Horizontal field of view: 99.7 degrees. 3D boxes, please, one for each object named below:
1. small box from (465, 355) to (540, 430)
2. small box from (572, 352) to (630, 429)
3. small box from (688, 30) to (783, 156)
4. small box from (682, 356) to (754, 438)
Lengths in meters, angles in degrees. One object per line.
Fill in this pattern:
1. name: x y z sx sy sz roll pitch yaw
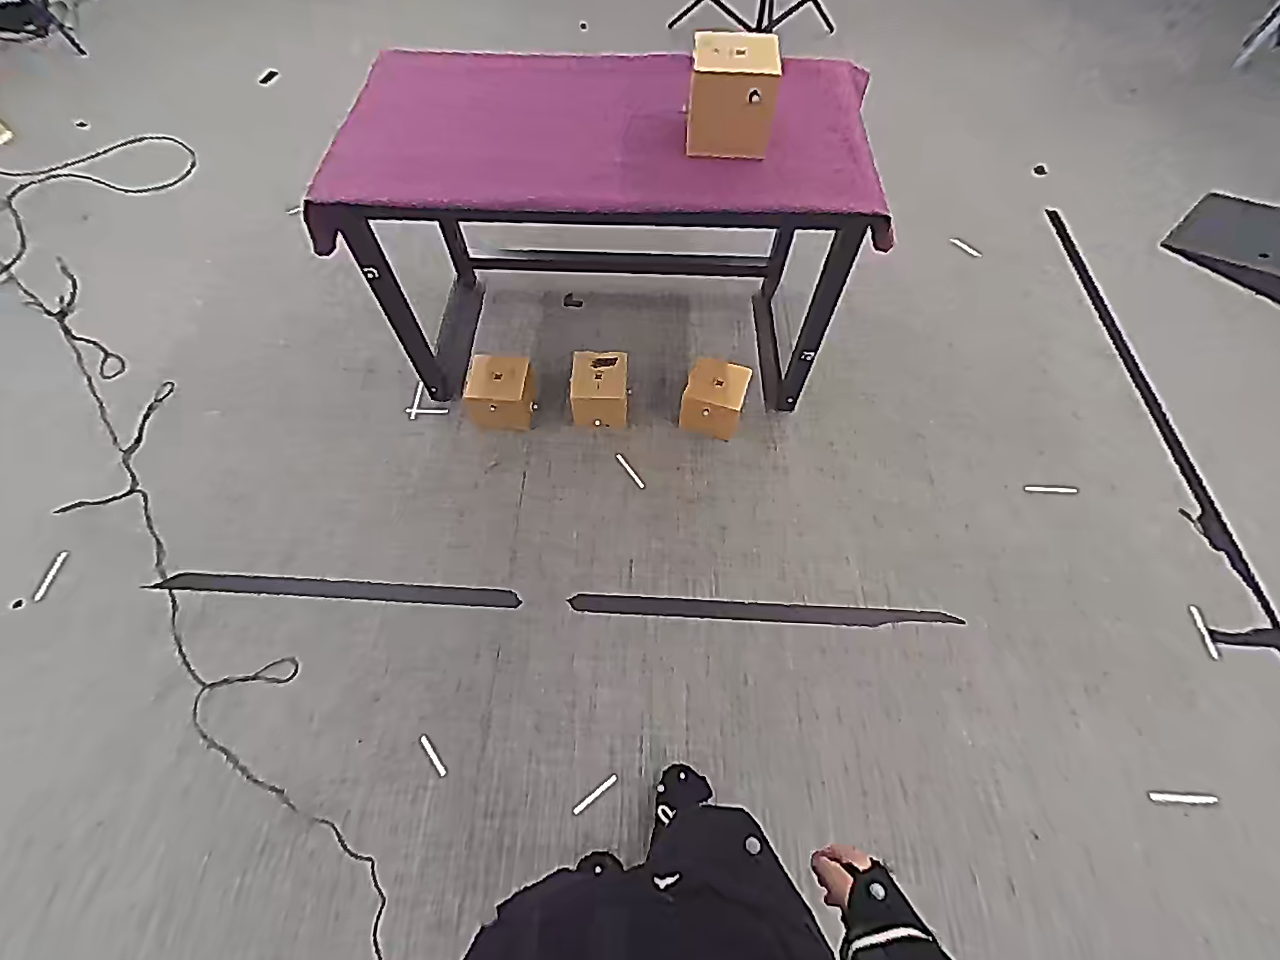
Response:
1. small box: -0.424 -0.271 1.693 0.179 0.176 0.168 4 63 1
2. small box: -0.118 -0.279 1.694 0.168 0.176 0.179 1 63 1
3. small box: 0.198 -0.822 1.157 0.179 0.176 0.168 3 61 2
4. small box: 0.237 -0.253 1.681 0.179 0.176 0.168 16 64 10
